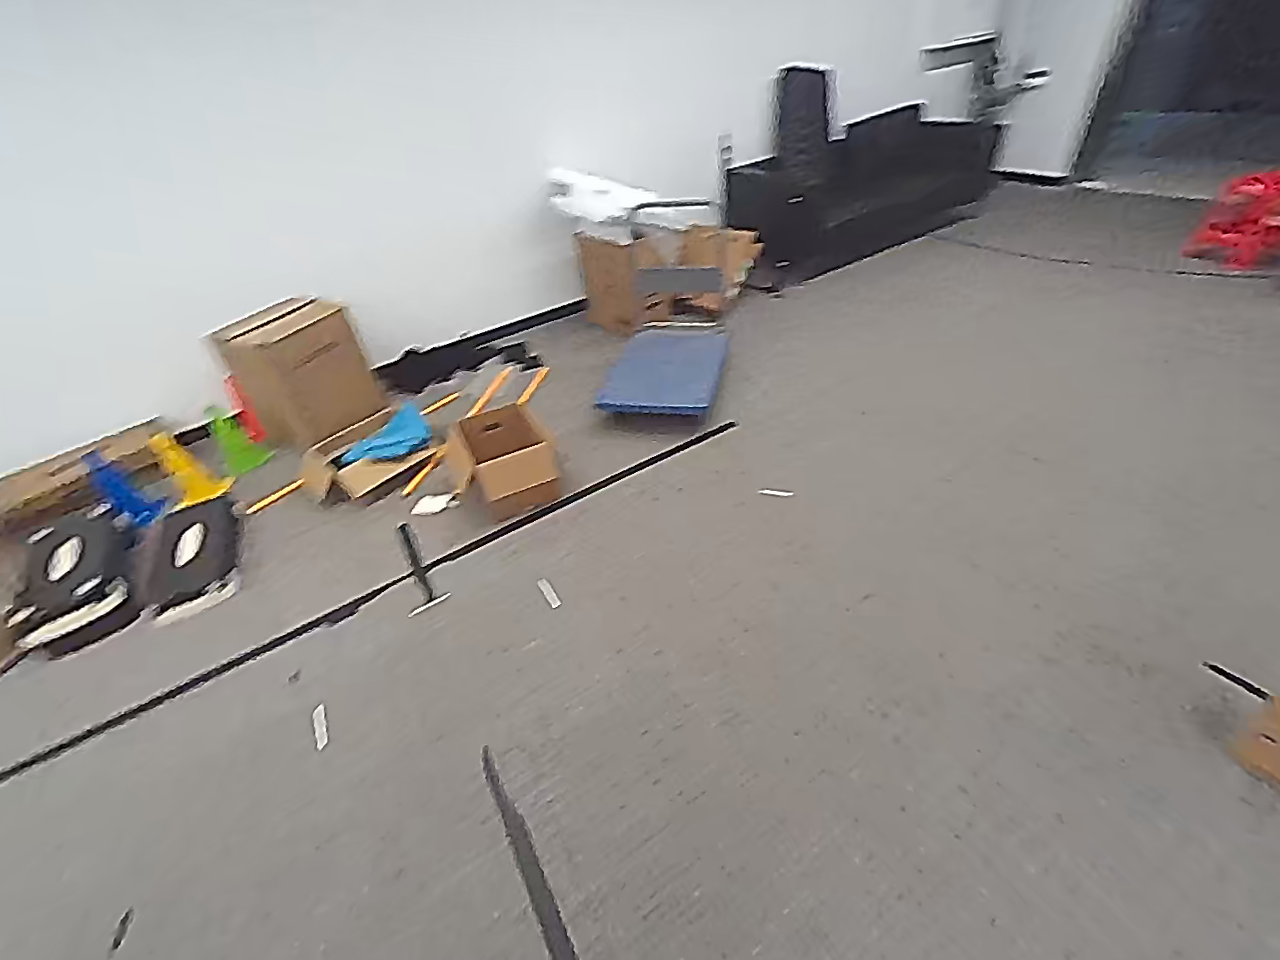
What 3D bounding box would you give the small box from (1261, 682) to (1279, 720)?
[{"bbox_3d":[1.537,0.480,1.181,0.179,0.176,0.168,-22,41,-19],"label":"small box"}]
